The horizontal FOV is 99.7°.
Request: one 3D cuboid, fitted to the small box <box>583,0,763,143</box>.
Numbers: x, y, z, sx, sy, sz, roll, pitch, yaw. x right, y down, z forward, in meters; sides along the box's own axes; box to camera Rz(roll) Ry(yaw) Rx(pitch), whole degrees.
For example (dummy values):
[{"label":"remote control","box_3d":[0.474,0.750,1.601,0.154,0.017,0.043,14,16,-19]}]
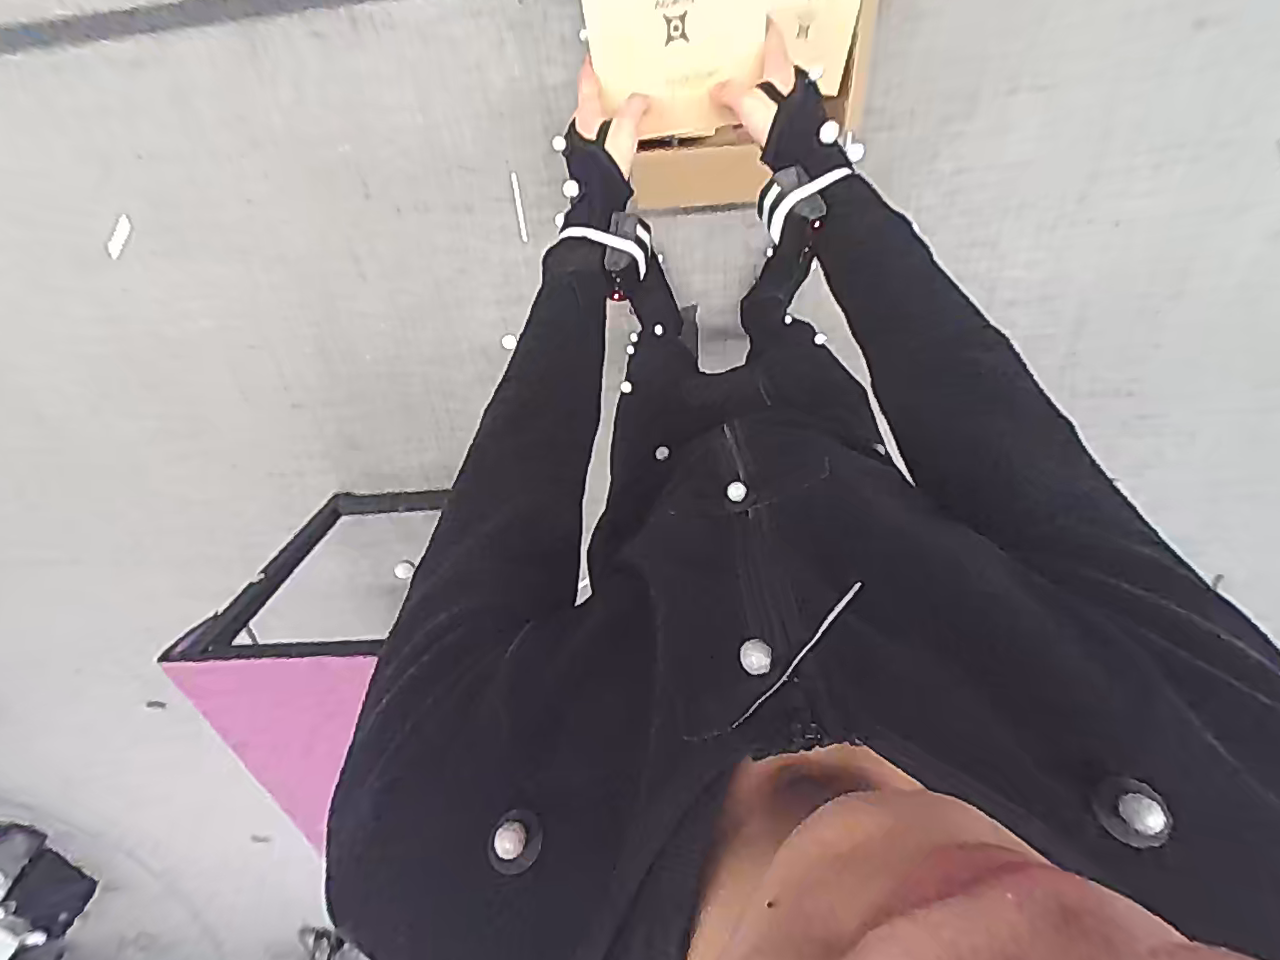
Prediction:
[{"label":"small box","box_3d":[0.035,-0.469,0.562,0.168,0.176,0.179,-4,127,7]}]
